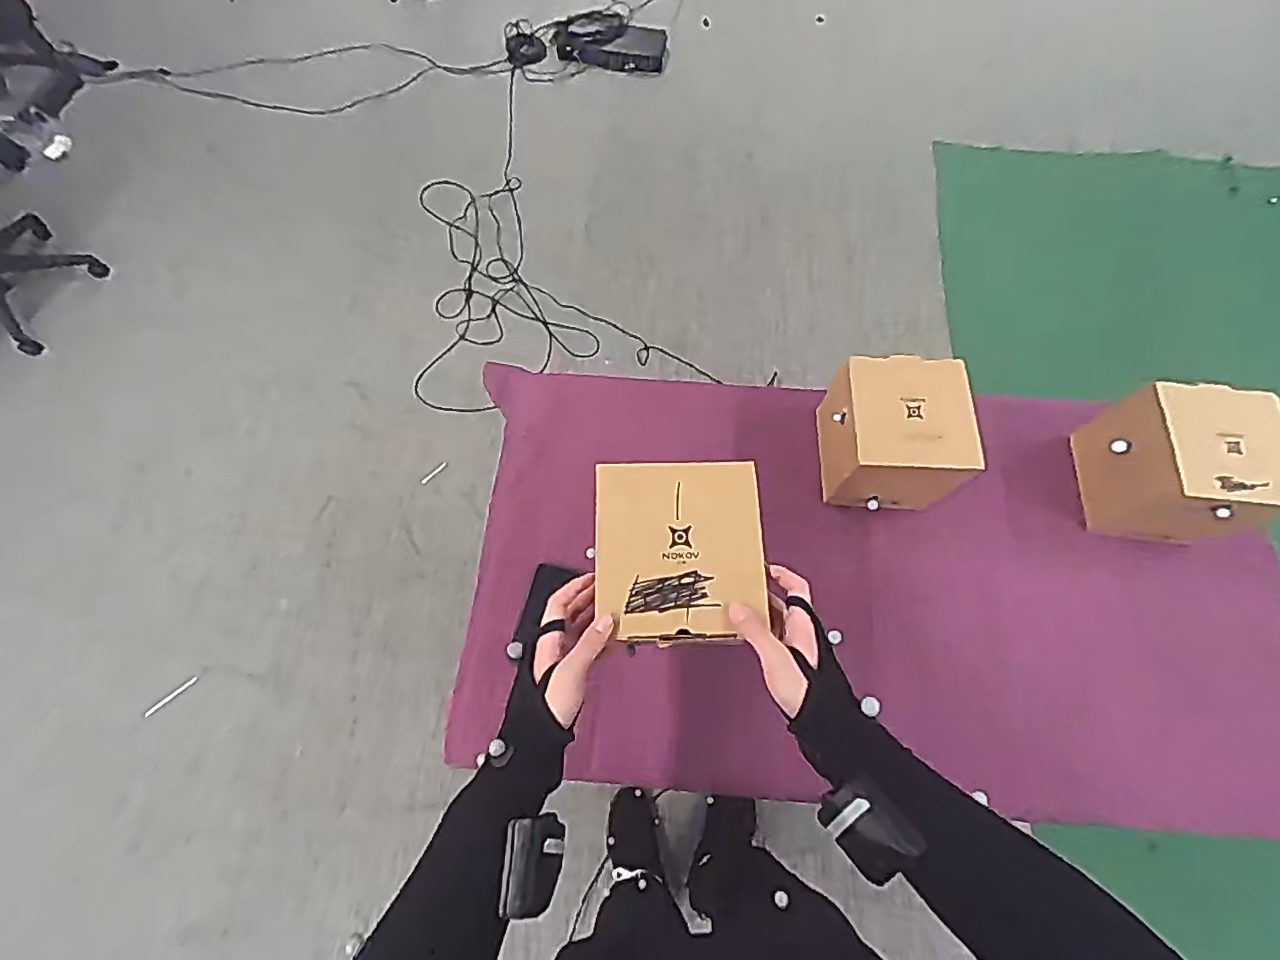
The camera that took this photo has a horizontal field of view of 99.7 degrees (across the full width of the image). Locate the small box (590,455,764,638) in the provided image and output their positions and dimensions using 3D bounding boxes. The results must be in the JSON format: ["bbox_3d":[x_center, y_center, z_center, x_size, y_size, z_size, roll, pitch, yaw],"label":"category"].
[{"bbox_3d":[0.035,0.083,0.604,0.168,0.176,0.179,0,70,-1],"label":"small box"}]

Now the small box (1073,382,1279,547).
[{"bbox_3d":[0.782,-0.017,0.789,0.168,0.176,0.179,6,67,4],"label":"small box"}]

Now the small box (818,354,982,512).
[{"bbox_3d":[0.374,-0.066,0.815,0.168,0.176,0.179,3,67,3],"label":"small box"}]
